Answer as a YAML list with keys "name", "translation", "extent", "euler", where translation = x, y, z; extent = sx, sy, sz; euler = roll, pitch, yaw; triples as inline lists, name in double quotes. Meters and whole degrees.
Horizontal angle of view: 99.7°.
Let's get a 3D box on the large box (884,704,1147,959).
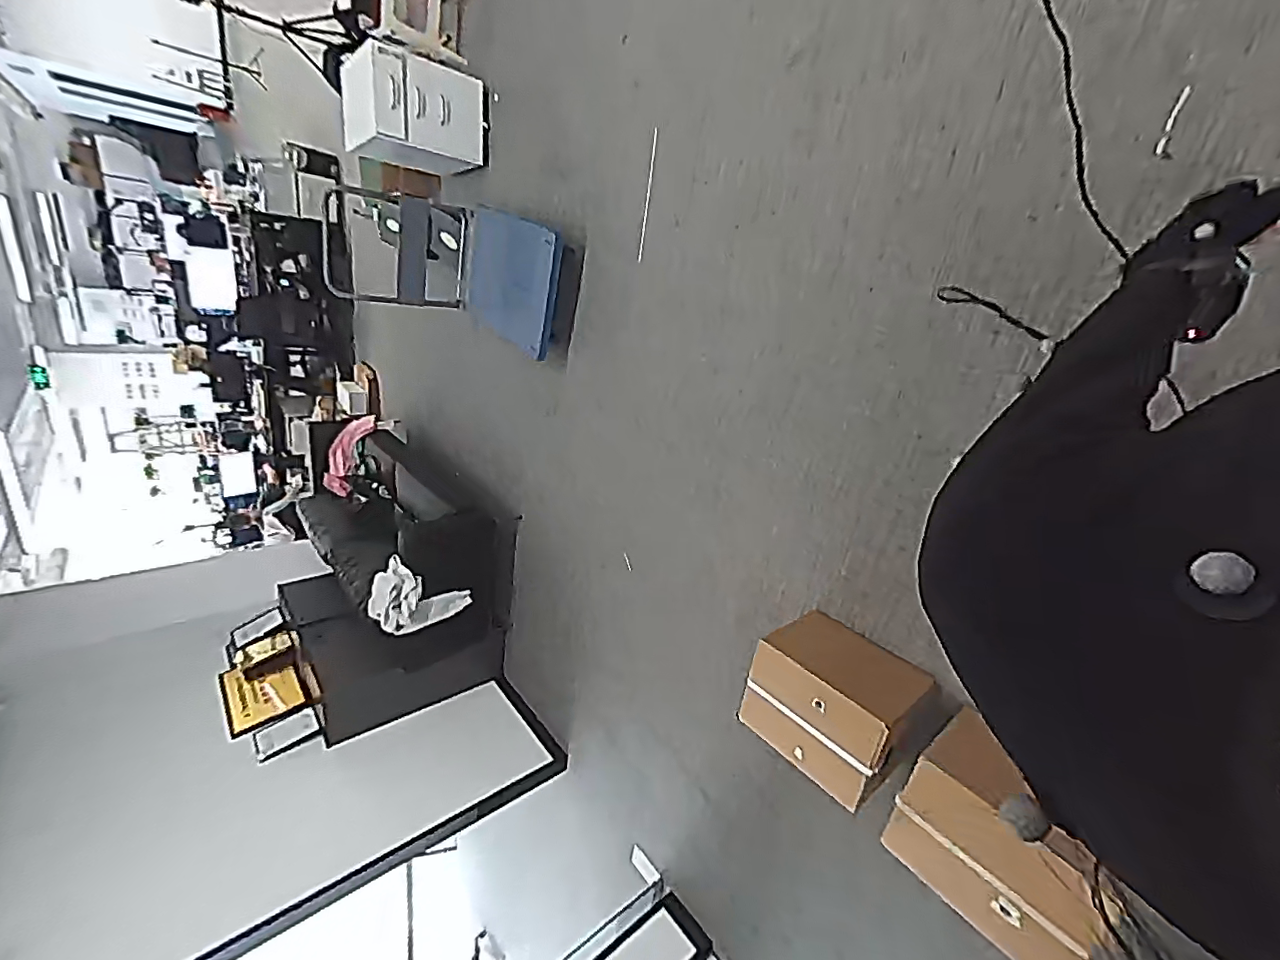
- name: "large box"
  translation: [0.885, 0.833, 1.301]
  extent: [0.408, 0.320, 0.320]
  euler: [30, 119, 40]
